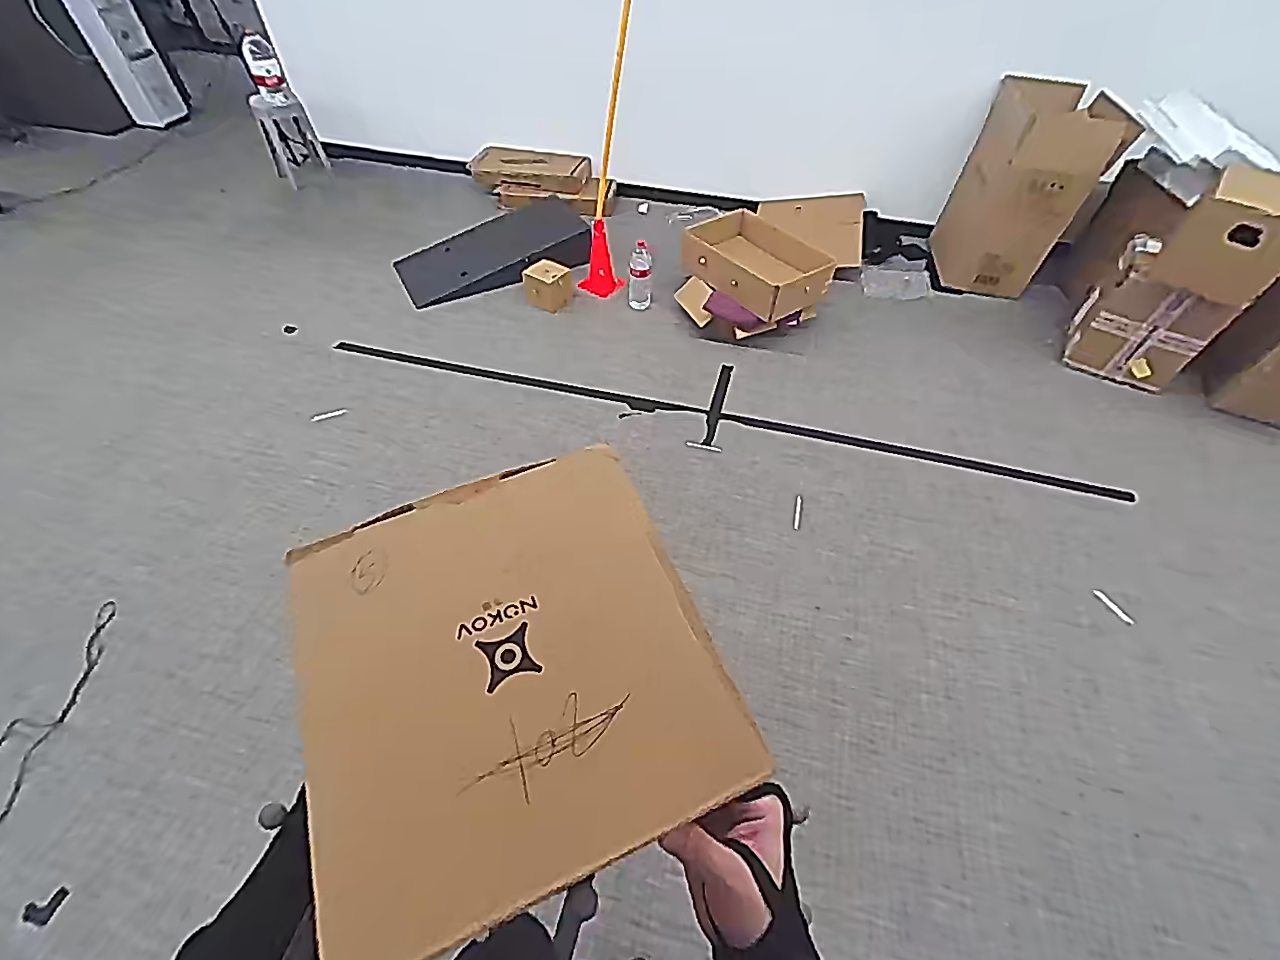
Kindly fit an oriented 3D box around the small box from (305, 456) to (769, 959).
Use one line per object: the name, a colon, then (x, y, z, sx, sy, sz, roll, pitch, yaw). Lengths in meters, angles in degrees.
small box: (-0.057, 0.122, 0.309, 0.168, 0.176, 0.179, -22, 60, -14)
